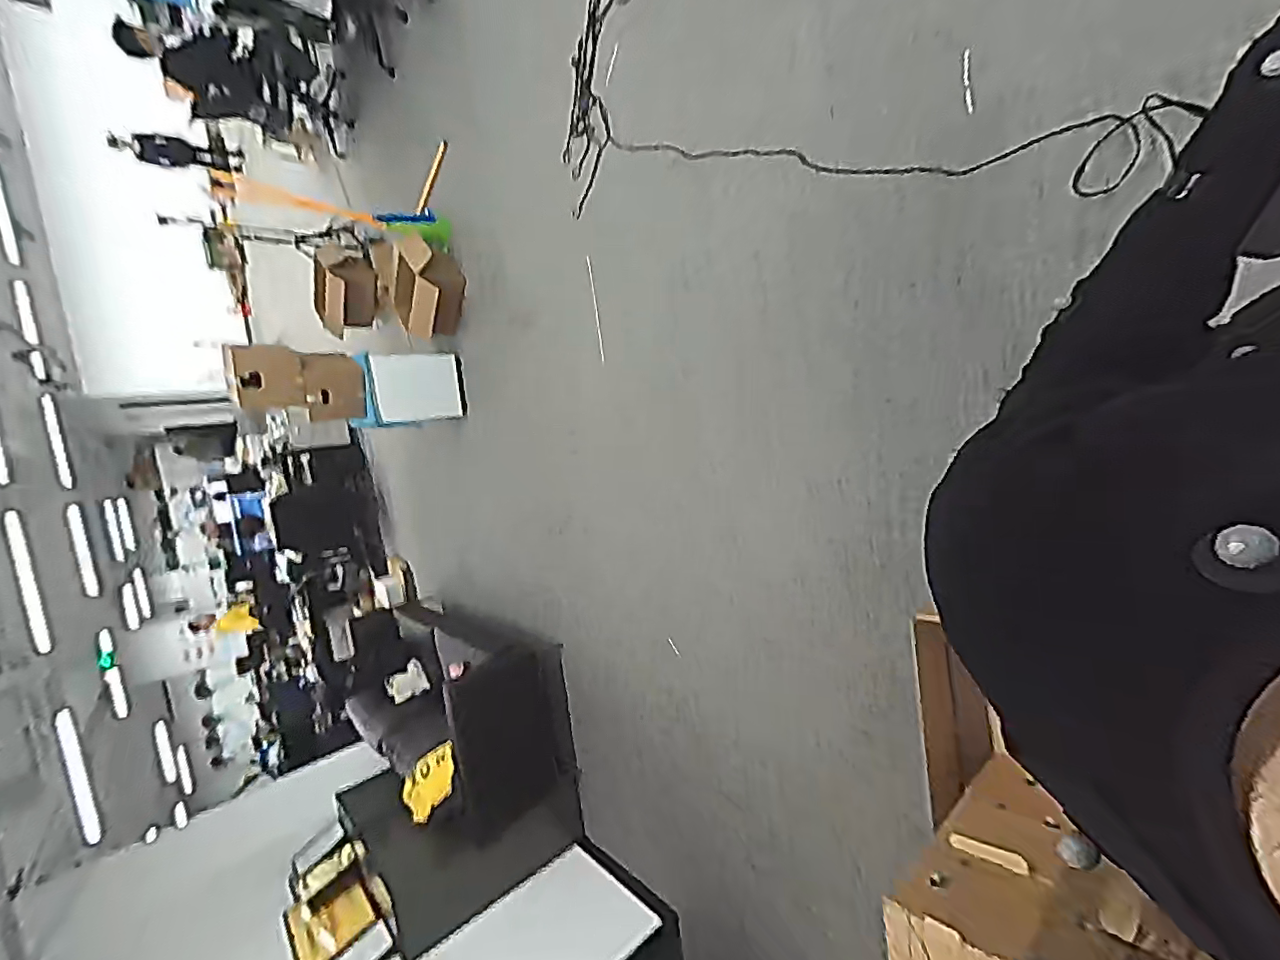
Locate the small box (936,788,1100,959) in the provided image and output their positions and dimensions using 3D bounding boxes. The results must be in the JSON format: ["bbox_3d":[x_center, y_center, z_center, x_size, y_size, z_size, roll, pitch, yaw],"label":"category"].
[{"bbox_3d":[0.596,0.626,0.854,0.168,0.176,0.179,-11,89,50],"label":"small box"}]

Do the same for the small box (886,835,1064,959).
[{"bbox_3d":[0.469,0.645,0.754,0.168,0.176,0.179,-6,92,50],"label":"small box"}]
